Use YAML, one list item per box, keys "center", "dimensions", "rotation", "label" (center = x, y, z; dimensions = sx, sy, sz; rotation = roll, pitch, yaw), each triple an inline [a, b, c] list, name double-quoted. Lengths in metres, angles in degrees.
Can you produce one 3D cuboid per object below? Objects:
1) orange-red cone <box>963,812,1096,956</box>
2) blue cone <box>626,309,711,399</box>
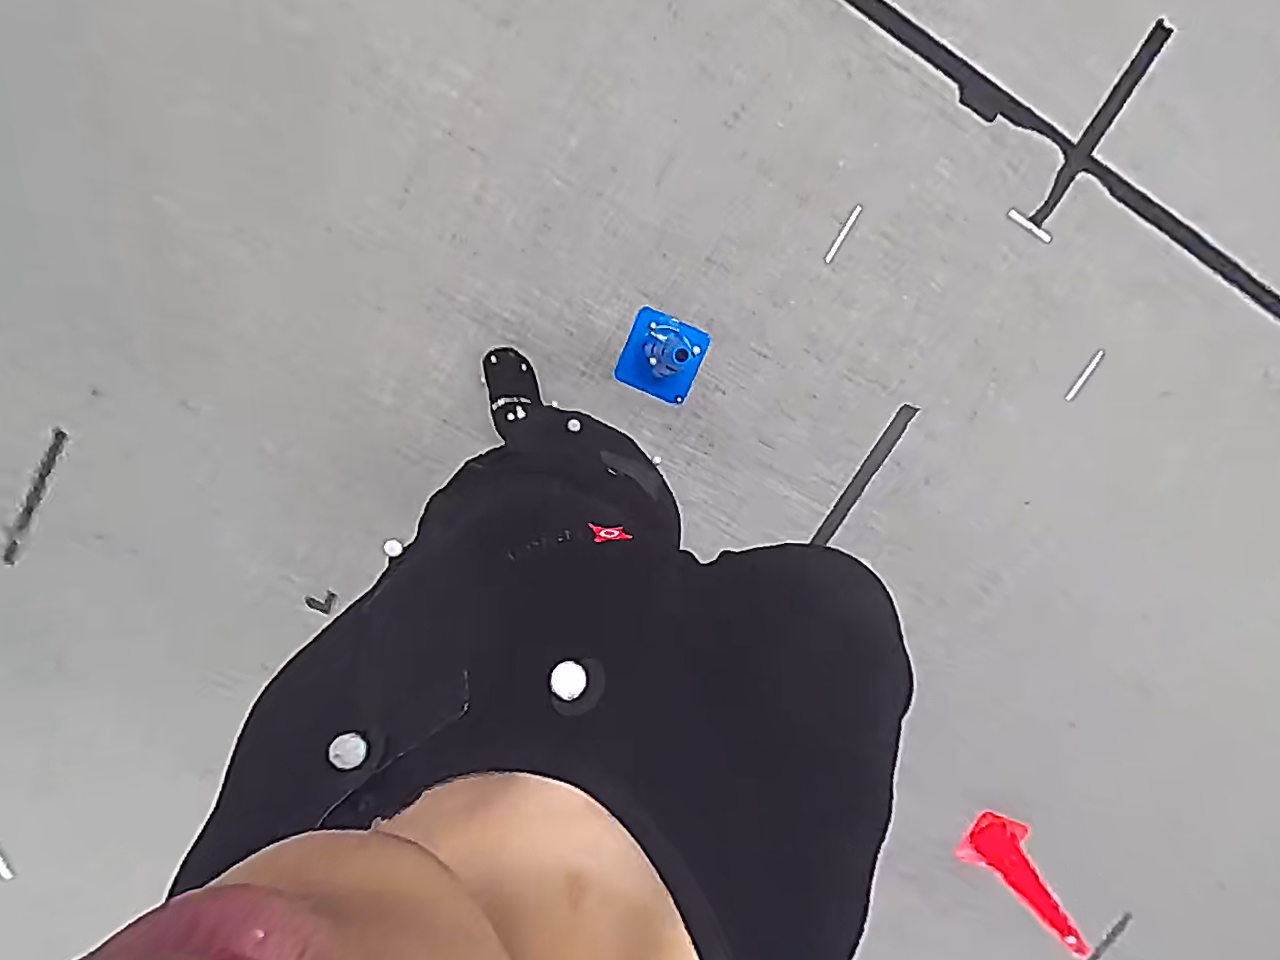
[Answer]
- center: [1.217, 1.252, 1.651]
  dimensions: [0.198, 0.360, 0.199]
  rotation: [24, 99, -10]
  label: "orange-red cone"
- center: [0.083, -0.285, 1.222]
  dimensions: [0.192, 0.380, 0.193]
  rotation: [23, 100, -9]
  label: "blue cone"
